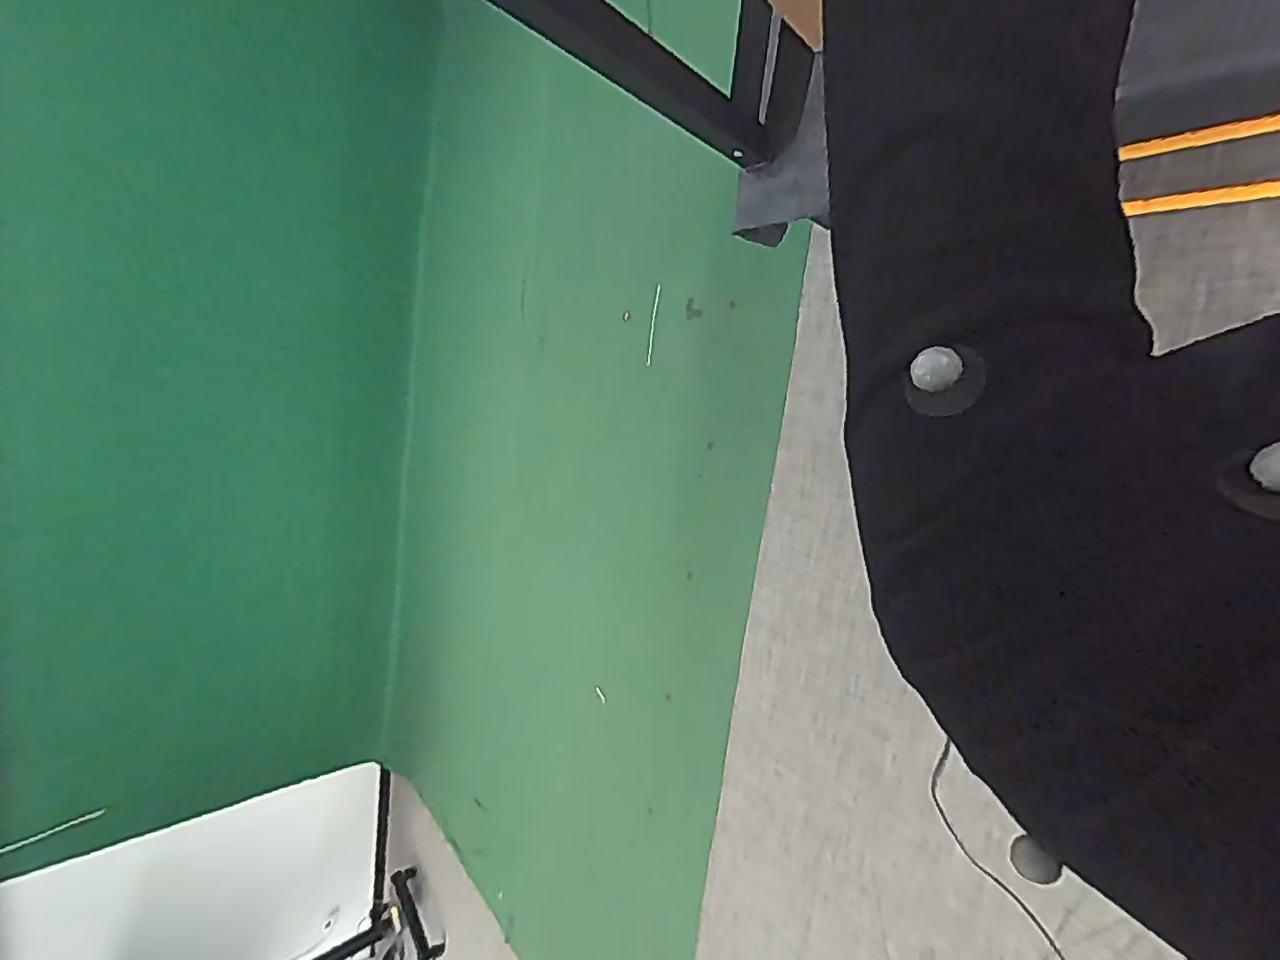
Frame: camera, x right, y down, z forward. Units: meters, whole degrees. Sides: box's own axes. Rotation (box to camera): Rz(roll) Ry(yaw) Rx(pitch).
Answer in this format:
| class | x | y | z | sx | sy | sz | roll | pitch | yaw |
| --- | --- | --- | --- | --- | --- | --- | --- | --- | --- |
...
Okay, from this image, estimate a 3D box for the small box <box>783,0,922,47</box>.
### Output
| class | x | y | z | sx | sy | sz | roll | pitch | yaw |
| --- | --- | --- | --- | --- | --- | --- | --- | --- | --- |
| small box | 0.290 | -0.753 | 0.737 | 0.168 | 0.176 | 0.179 | 16 | 102 | 46 |
